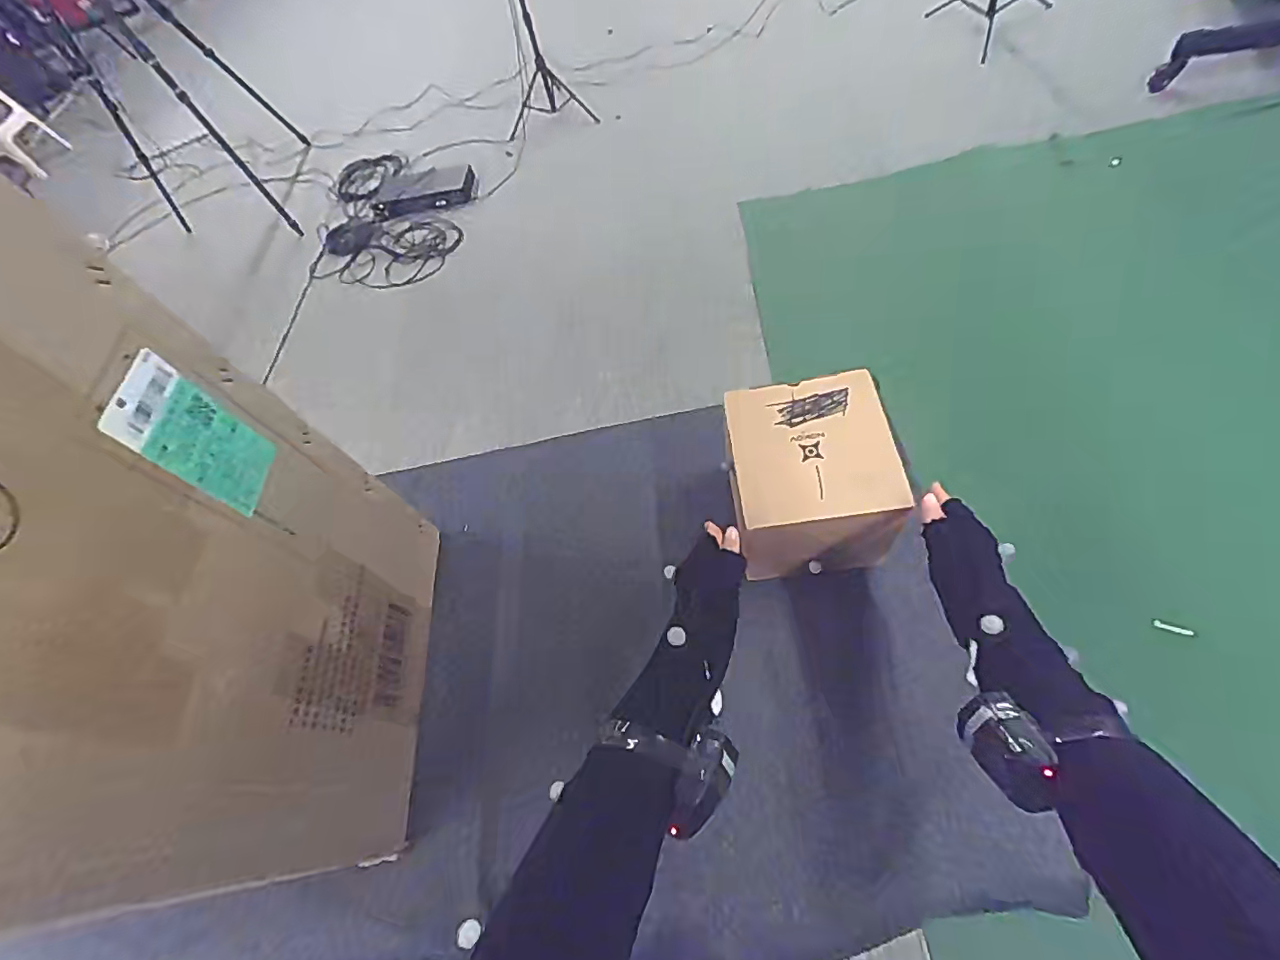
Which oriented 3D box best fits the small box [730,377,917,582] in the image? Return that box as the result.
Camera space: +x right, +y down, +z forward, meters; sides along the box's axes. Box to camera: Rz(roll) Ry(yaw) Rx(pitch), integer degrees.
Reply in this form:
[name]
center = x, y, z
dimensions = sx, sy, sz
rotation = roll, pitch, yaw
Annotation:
[small box]
center = 0.202, 0.006, 0.648
dimensions = 0.168, 0.176, 0.179
rotation = -9, 61, 8
